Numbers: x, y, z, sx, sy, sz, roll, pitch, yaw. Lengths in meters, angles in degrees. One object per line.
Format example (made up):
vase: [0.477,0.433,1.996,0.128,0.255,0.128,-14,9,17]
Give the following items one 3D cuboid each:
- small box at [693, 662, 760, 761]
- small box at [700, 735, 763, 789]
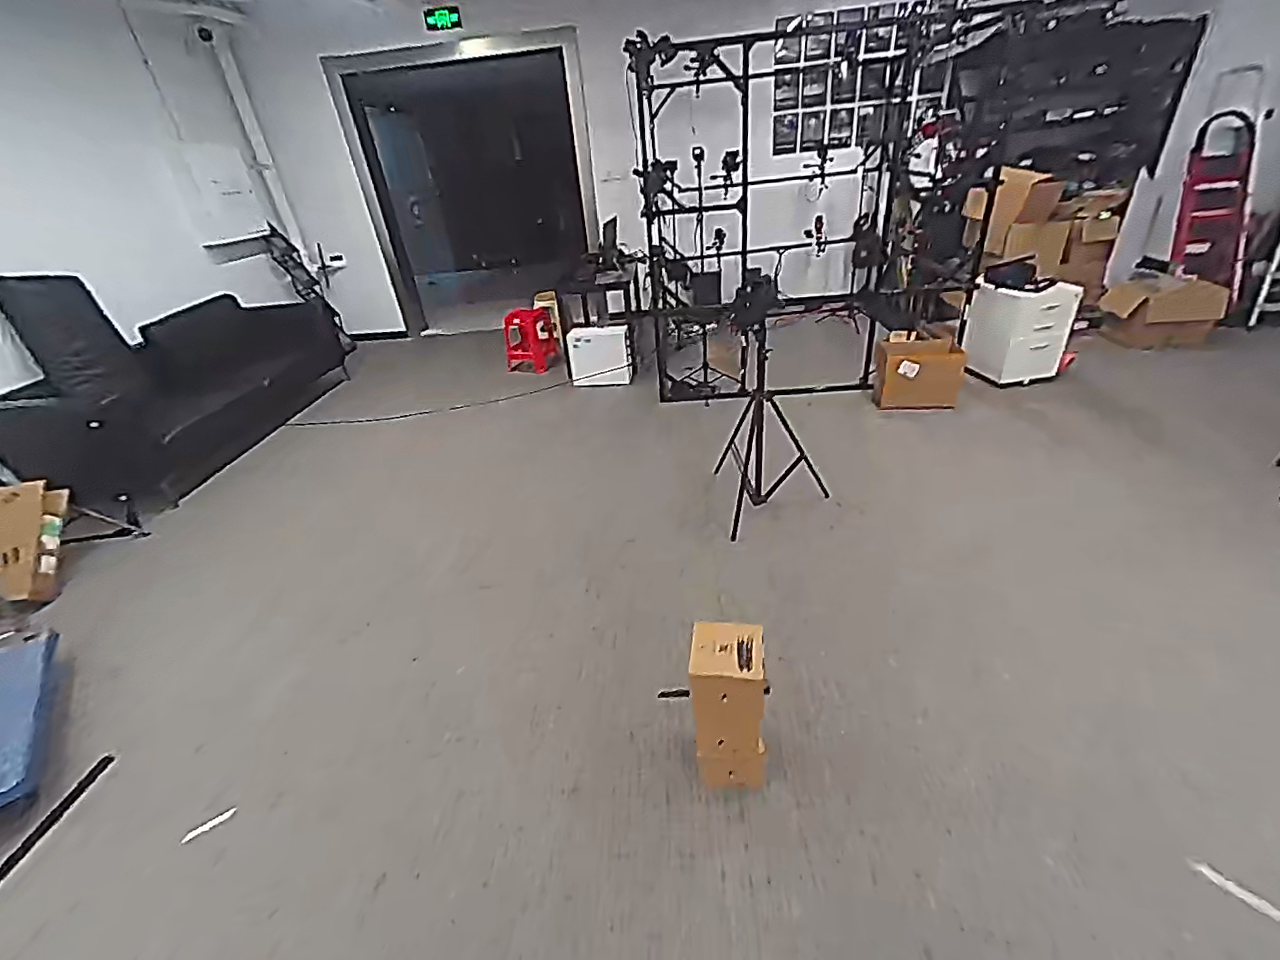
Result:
small box: [0.231,0.615,1.445,0.168,0.176,0.179,-1,32,9]
small box: [0.252,0.752,1.531,0.168,0.176,0.179,-4,30,3]
